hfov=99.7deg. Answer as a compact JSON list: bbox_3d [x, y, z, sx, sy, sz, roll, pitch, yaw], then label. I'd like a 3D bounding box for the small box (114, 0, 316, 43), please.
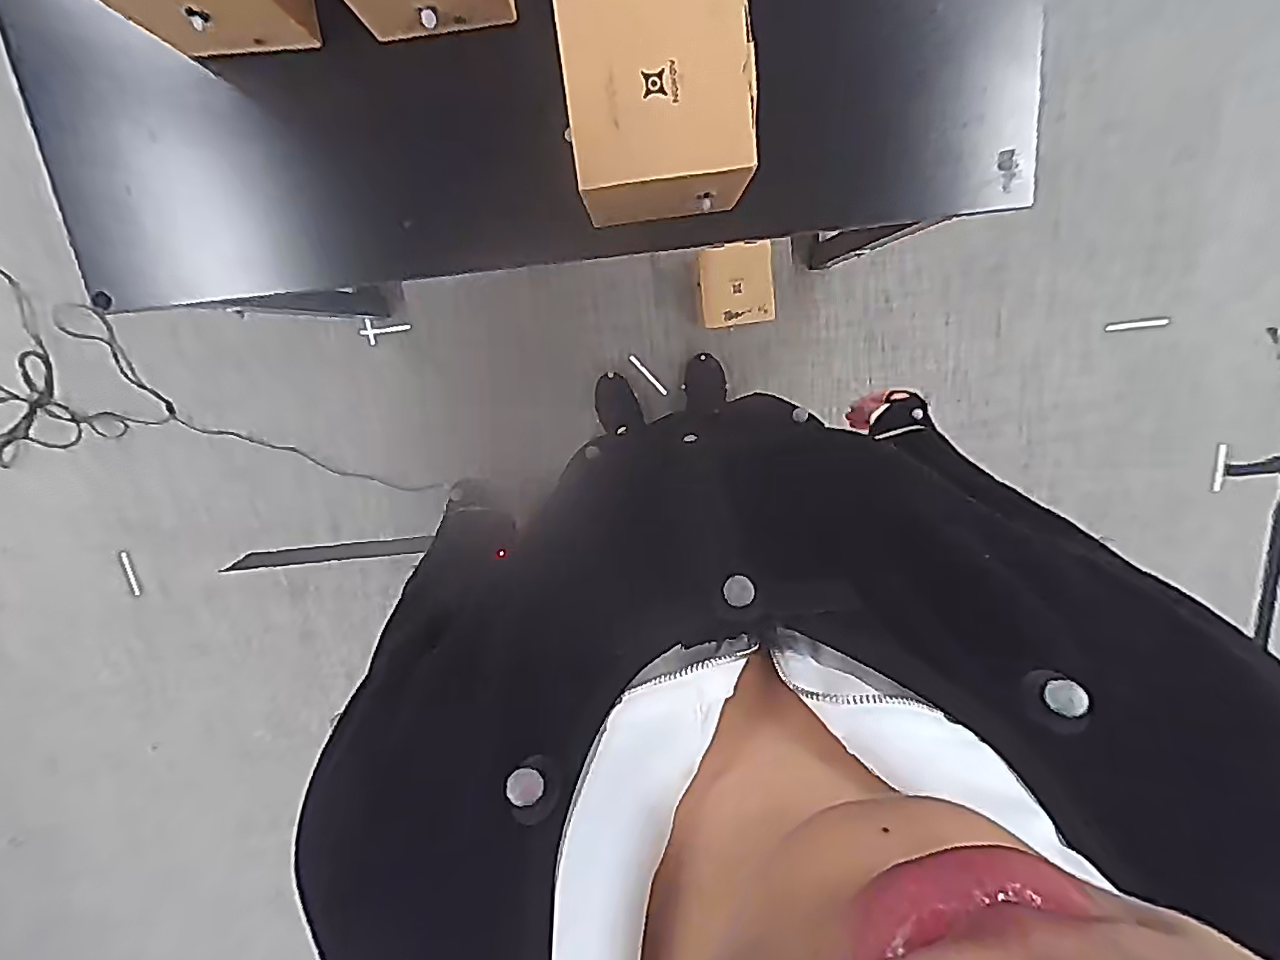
[{"bbox_3d":[-0.457,-0.570,0.535,0.168,0.176,0.179,-3,104,0],"label":"small box"}]

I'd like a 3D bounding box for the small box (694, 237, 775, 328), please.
[{"bbox_3d":[0.223,-0.469,1.306,0.168,0.176,0.179,-7,104,3],"label":"small box"}]

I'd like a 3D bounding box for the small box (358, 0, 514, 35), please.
[{"bbox_3d":[-0.233,-0.588,0.528,0.168,0.176,0.179,-6,105,2],"label":"small box"}]

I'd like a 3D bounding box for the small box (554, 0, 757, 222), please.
[{"bbox_3d":[0.018,-0.391,0.577,0.179,0.176,0.168,-7,103,3],"label":"small box"}]
